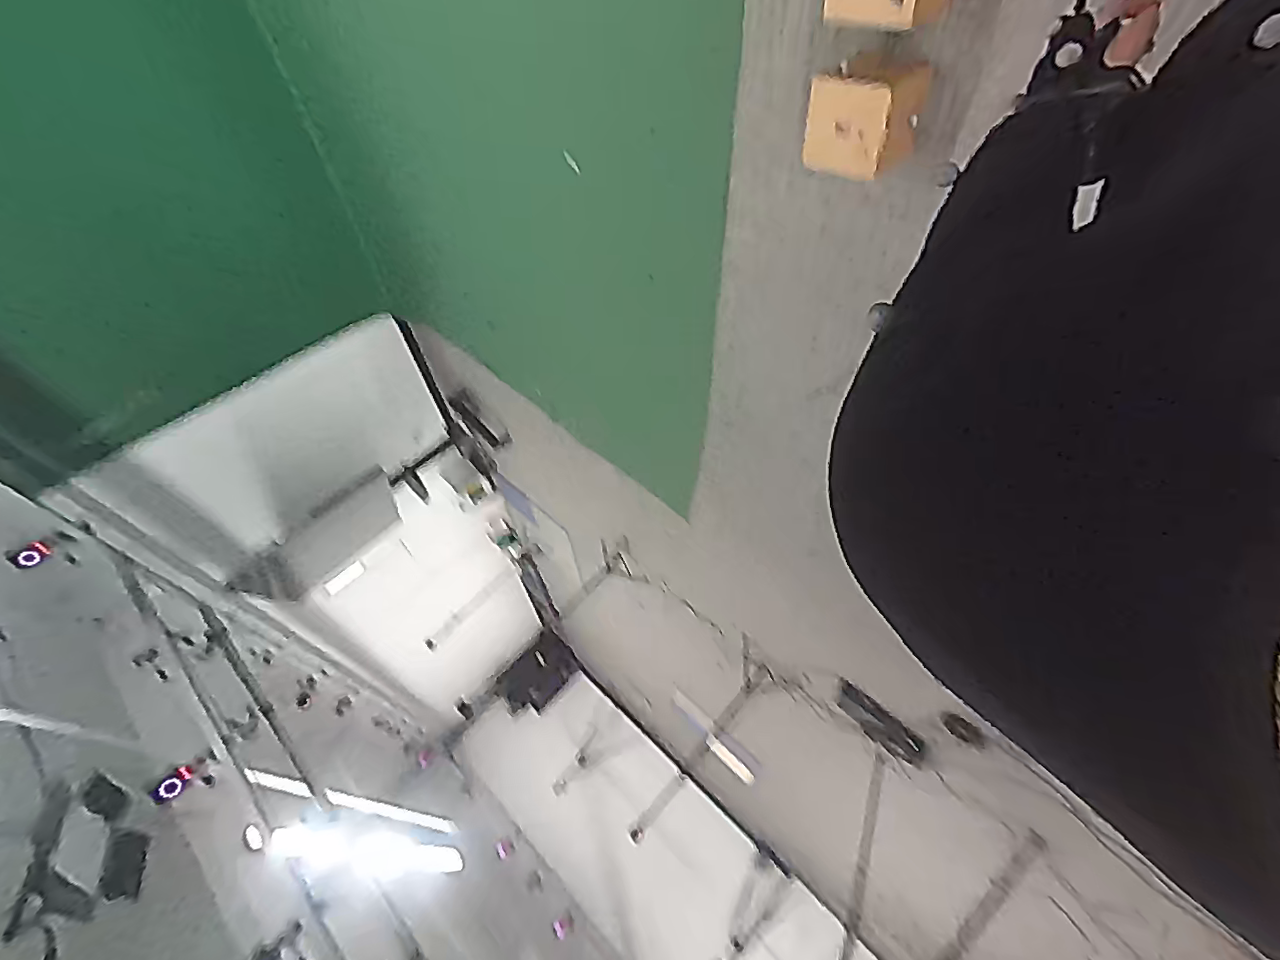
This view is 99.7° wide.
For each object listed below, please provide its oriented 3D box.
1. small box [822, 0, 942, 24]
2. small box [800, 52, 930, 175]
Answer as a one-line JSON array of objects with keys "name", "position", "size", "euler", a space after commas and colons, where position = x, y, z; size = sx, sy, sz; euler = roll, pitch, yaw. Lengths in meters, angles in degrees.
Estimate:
[{"name": "small box", "position": [0.455, -0.935, 0.950], "size": [0.179, 0.176, 0.168], "euler": [35, 151, 29]}, {"name": "small box", "position": [0.471, -0.780, 1.143], "size": [0.179, 0.176, 0.168], "euler": [34, 152, 29]}]
